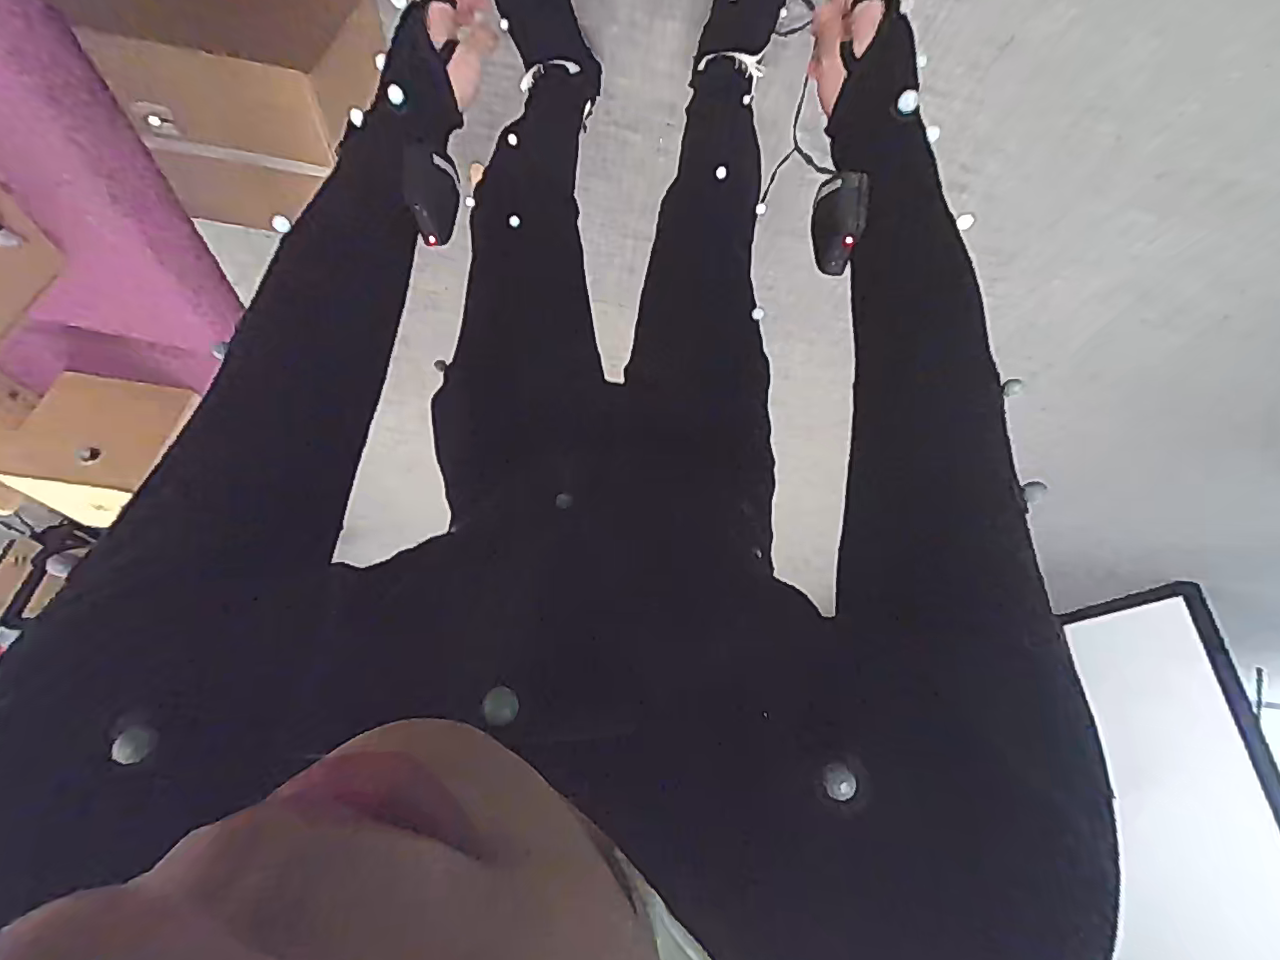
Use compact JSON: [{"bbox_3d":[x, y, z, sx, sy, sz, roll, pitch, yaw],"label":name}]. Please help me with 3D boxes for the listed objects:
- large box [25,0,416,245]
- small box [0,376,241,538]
[{"bbox_3d":[-0.681,-0.683,0.975,0.408,0.320,0.320,8,151,-4],"label":"large box"},{"bbox_3d":[-0.730,-0.031,0.790,0.179,0.176,0.168,9,151,-5],"label":"small box"}]
